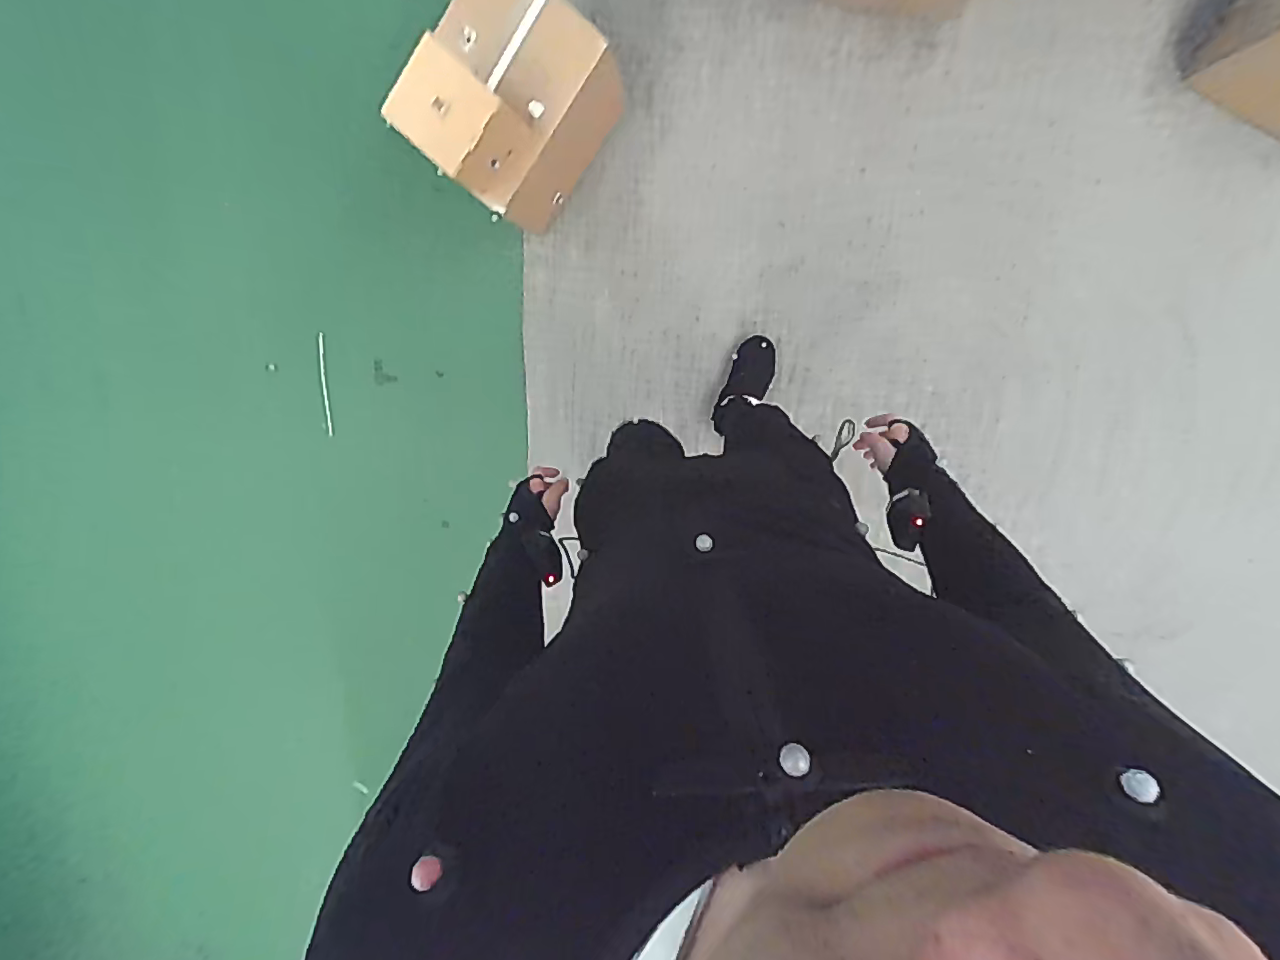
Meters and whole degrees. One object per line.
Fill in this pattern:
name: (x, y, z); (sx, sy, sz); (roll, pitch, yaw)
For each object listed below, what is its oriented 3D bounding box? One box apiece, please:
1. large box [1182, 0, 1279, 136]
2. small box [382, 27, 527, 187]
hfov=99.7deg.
large box: (1.444, -0.888, 1.039); (0.408, 0.320, 0.320); (28, 108, -1)
small box: (-0.355, -0.715, 1.064); (0.179, 0.176, 0.168); (41, 106, -7)
